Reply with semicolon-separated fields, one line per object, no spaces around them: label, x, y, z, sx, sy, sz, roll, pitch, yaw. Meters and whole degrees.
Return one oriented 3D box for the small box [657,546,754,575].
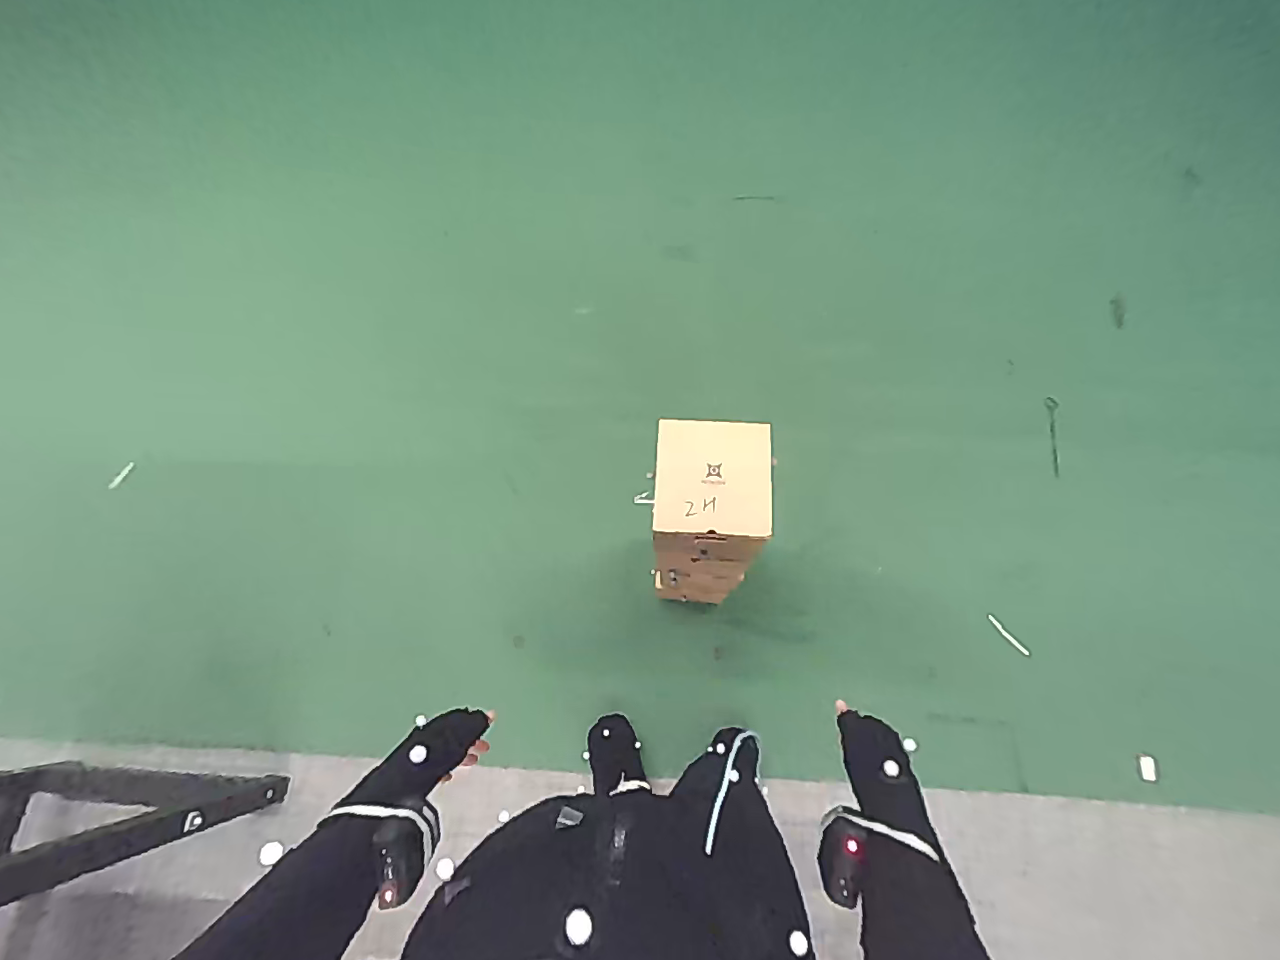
small box;0.122;0.075;1.004;0.168;0.176;0.179;4;70;4

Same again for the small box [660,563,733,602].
small box;0.136;0.194;1.311;0.168;0.176;0.179;4;72;4

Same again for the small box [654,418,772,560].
small box;0.109;0.020;0.850;0.168;0.176;0.179;3;72;4
